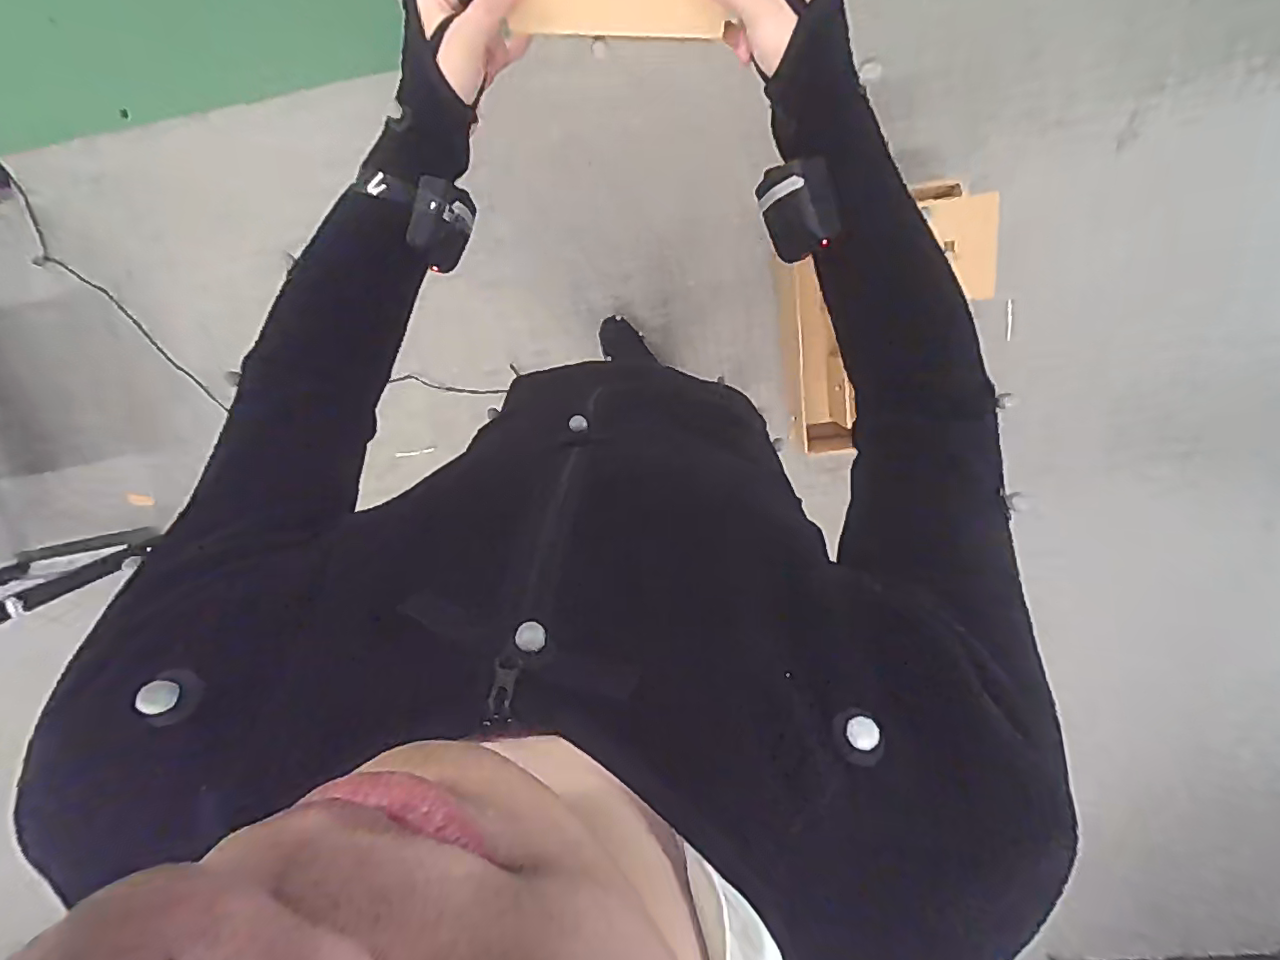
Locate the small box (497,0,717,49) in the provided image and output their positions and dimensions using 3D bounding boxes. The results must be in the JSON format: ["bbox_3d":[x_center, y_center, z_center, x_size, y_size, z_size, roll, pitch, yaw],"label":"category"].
[{"bbox_3d":[-0.016,-0.447,0.418,0.168,0.176,0.179,3,127,3],"label":"small box"}]
